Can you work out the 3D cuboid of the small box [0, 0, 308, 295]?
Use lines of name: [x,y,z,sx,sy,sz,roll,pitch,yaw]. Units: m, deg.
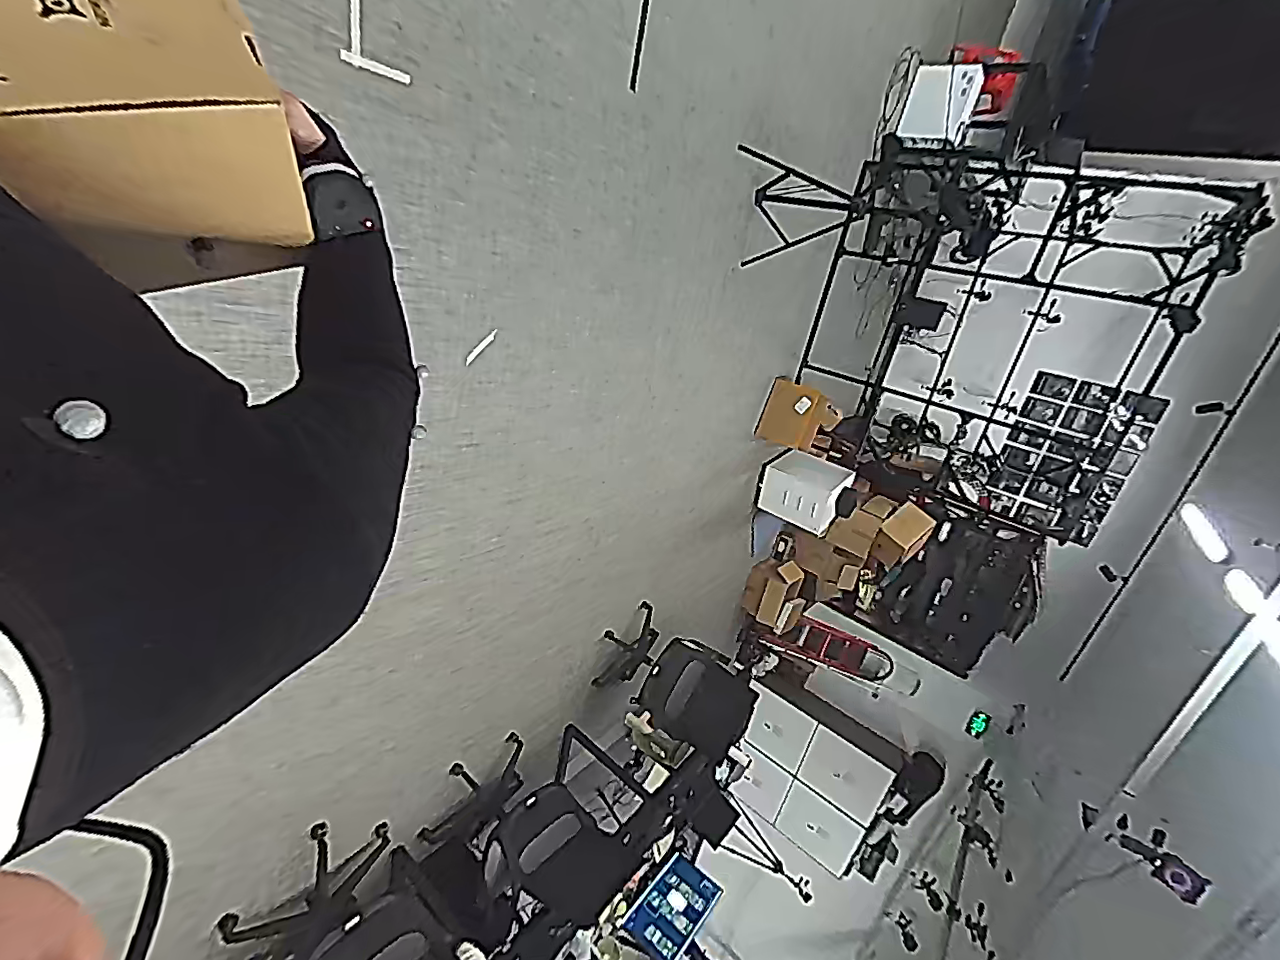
small box: [-0.393,-0.279,0.434,0.179,0.168,0.176,-26,171,-28]
